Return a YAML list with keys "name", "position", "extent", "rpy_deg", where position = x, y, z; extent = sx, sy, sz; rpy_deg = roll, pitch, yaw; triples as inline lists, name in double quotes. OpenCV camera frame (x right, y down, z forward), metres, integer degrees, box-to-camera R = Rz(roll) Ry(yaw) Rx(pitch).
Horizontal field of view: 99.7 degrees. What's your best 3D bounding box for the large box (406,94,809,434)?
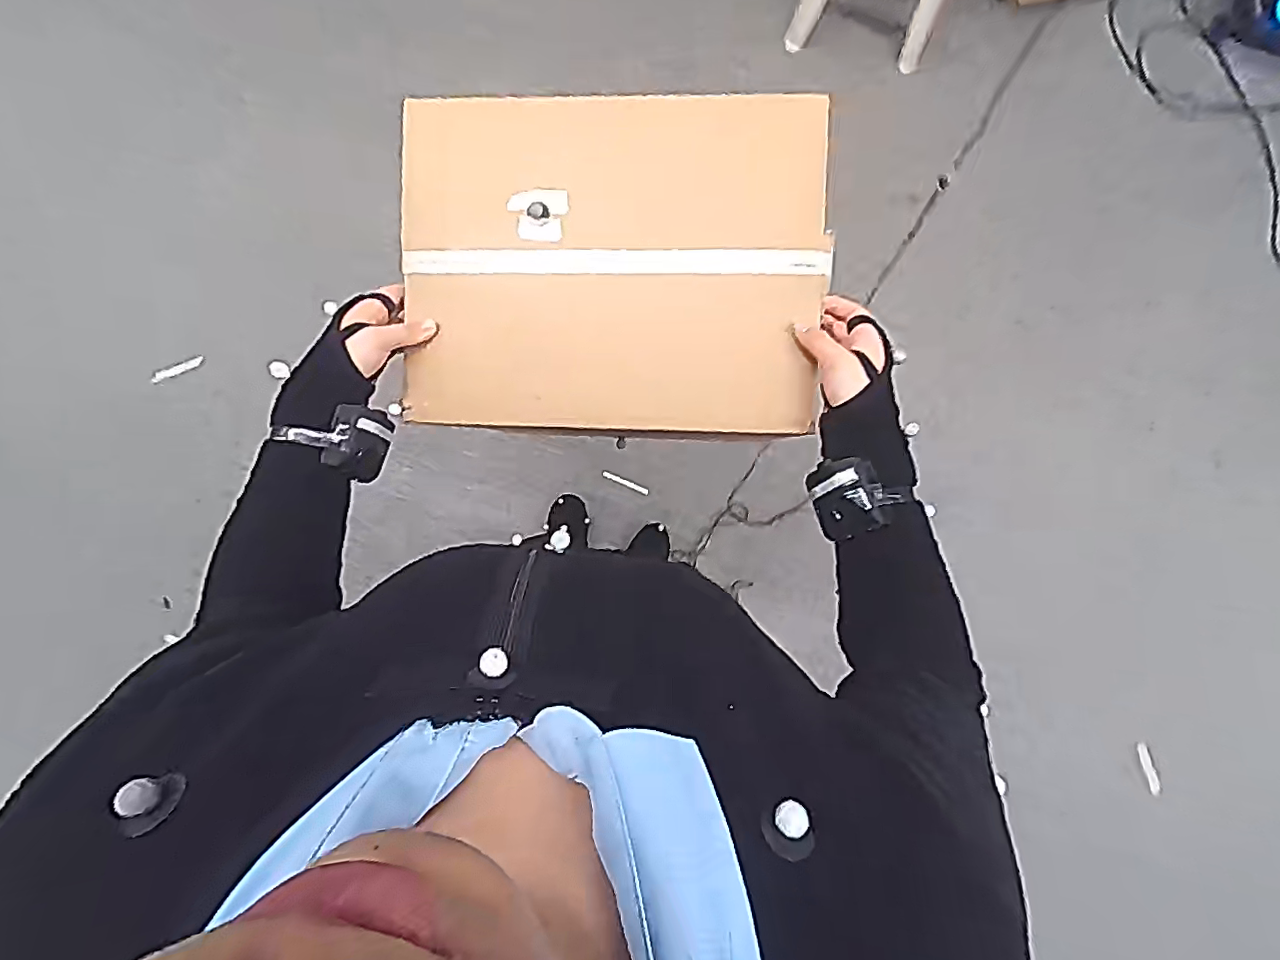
- name: "large box"
  position: [-0.022, -0.216, 0.678]
  extent: [0.408, 0.320, 0.320]
  rpy_deg: [1, 92, 5]
